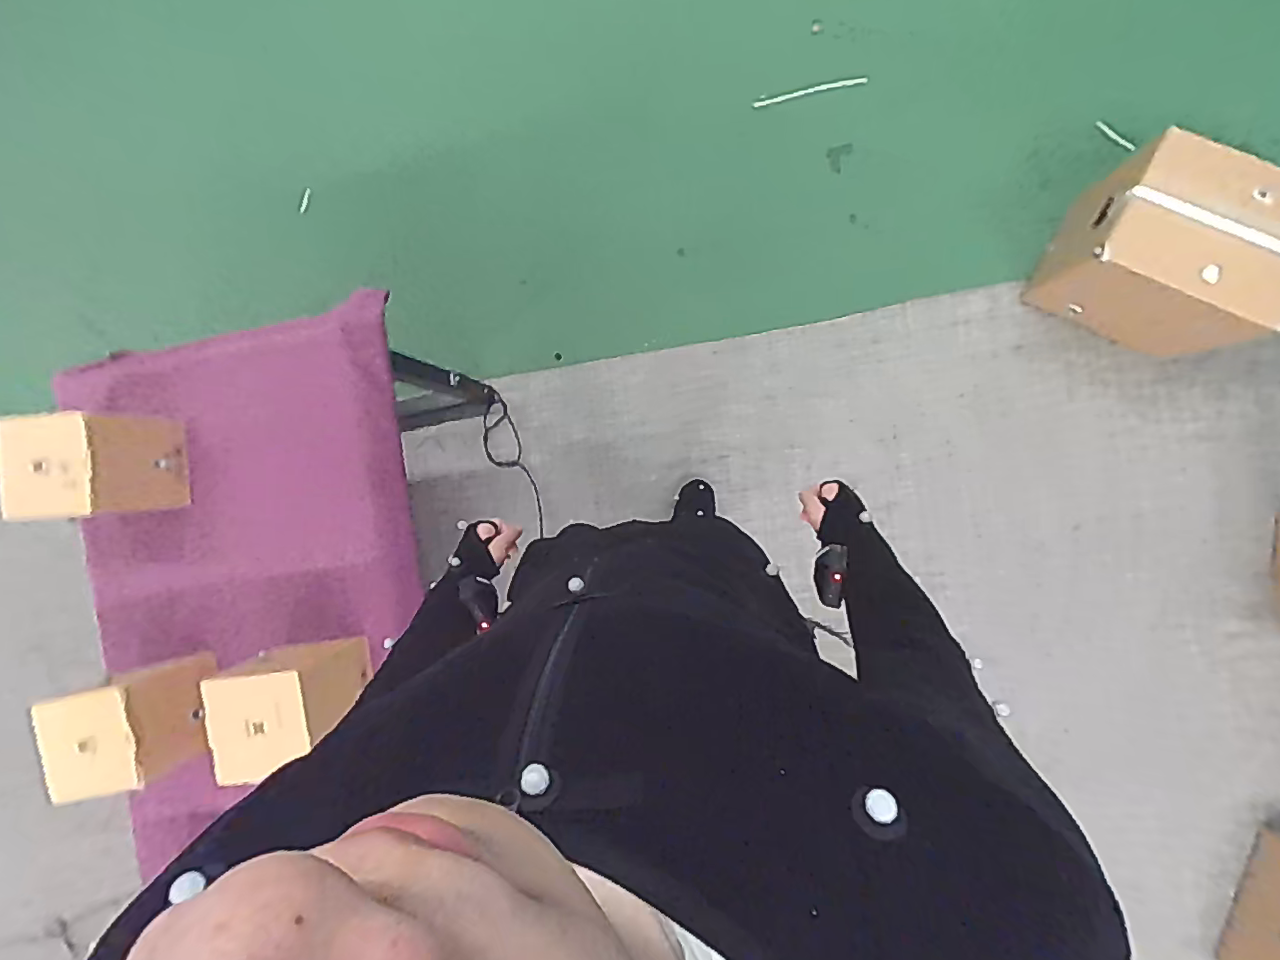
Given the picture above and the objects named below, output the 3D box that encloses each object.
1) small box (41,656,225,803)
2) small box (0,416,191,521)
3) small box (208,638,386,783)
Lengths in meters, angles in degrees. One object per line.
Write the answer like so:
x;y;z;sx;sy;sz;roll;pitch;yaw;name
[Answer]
-0.870;0.428;0.951;0.179;0.176;0.168;-14;89;7;small box
-0.941;-0.019;0.945;0.179;0.176;0.168;-4;92;7;small box
-0.564;0.377;0.908;0.179;0.176;0.168;-9;91;8;small box
